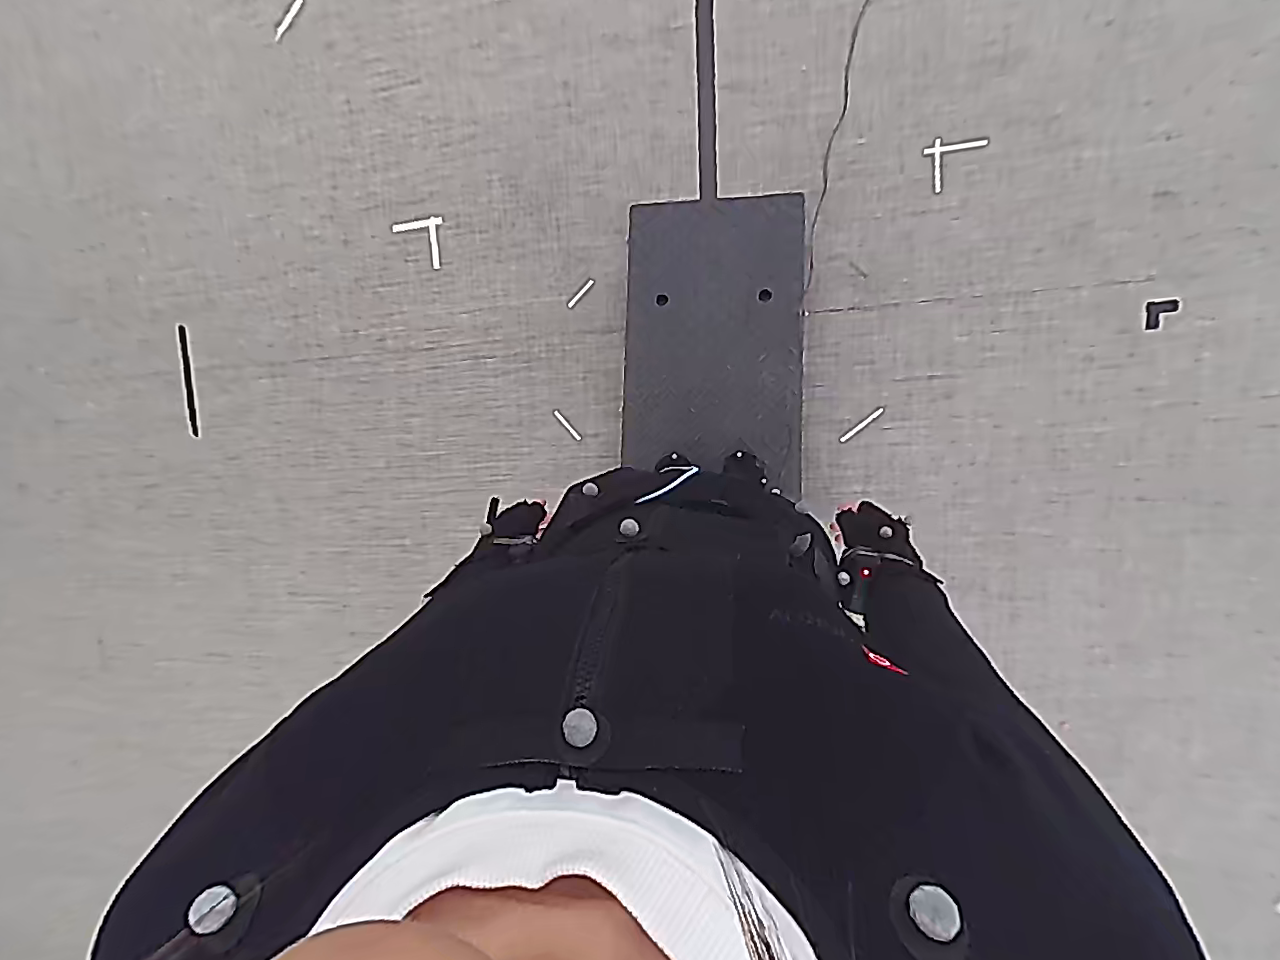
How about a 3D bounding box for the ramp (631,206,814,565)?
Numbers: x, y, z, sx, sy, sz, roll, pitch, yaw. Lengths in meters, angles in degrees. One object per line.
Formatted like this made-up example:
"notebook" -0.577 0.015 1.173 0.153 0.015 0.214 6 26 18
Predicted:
"ramp" 0.217 -0.269 1.502 0.509 0.206 0.991 -2 93 12
